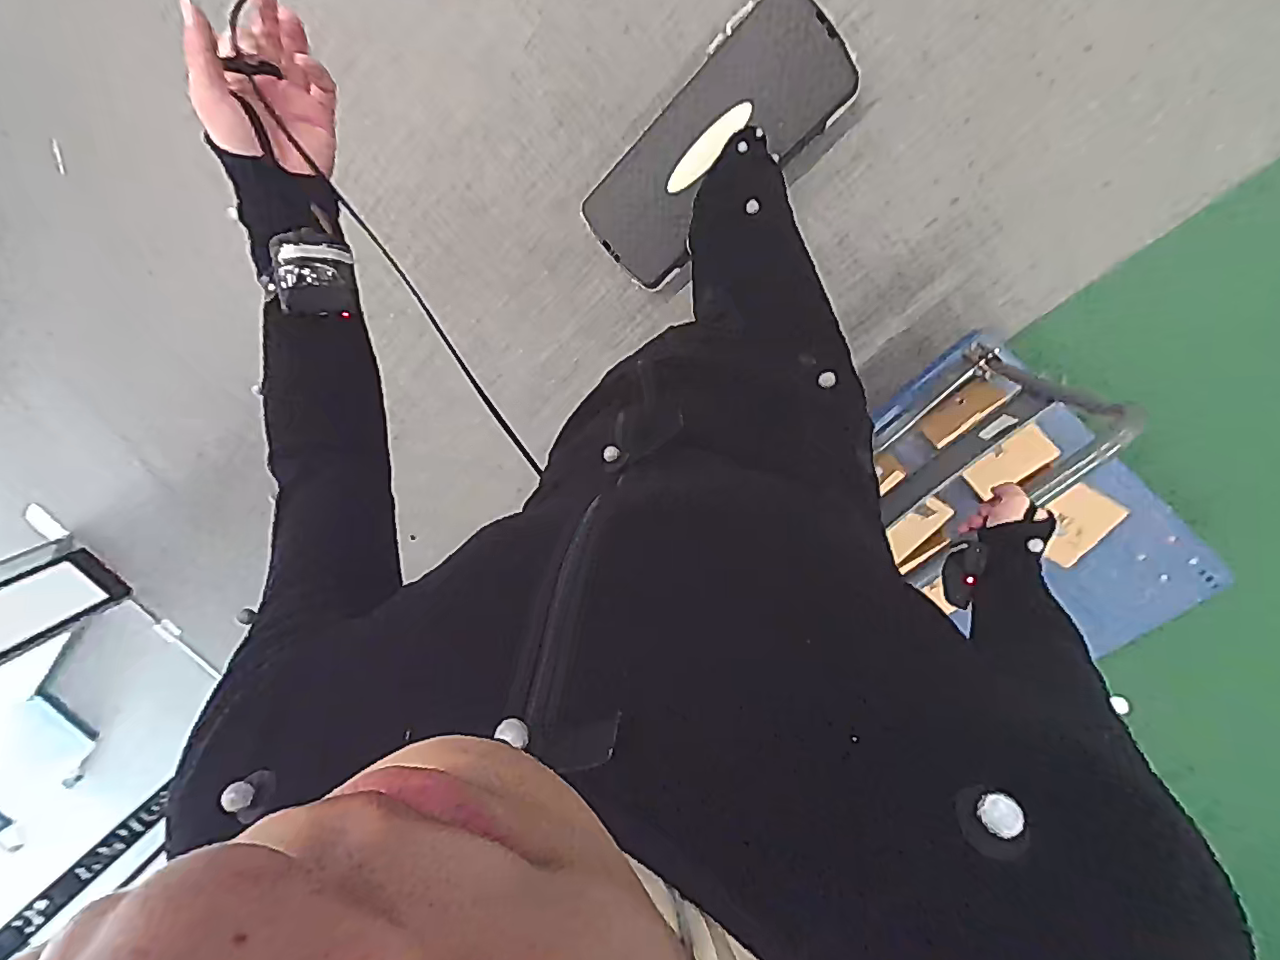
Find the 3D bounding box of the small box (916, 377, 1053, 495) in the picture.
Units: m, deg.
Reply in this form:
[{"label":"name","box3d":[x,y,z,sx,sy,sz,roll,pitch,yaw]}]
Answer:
[{"label":"small box","box3d":[0.749,-0.104,1.196,0.179,0.176,0.168,45,115,-7]}]

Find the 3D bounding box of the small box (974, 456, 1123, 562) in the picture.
[{"label":"small box","box3d":[0.902,0.045,1.218,0.179,0.176,0.168,31,116,0]}]
